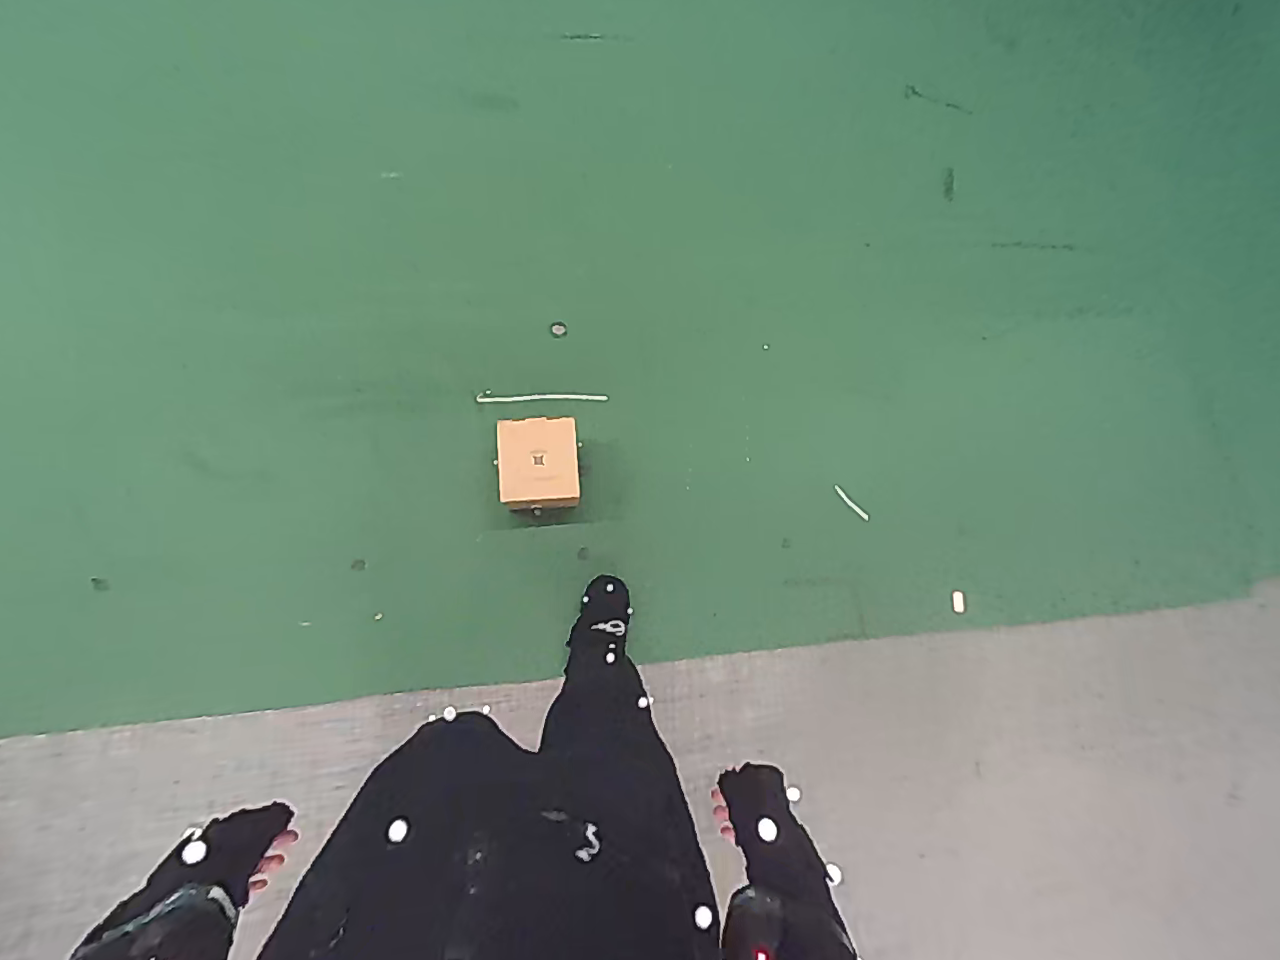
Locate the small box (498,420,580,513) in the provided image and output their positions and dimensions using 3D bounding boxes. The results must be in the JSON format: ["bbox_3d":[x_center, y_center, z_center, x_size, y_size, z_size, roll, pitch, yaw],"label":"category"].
[{"bbox_3d":[-0.219,-0.025,1.194,0.168,0.176,0.179,-2,80,-7],"label":"small box"}]
